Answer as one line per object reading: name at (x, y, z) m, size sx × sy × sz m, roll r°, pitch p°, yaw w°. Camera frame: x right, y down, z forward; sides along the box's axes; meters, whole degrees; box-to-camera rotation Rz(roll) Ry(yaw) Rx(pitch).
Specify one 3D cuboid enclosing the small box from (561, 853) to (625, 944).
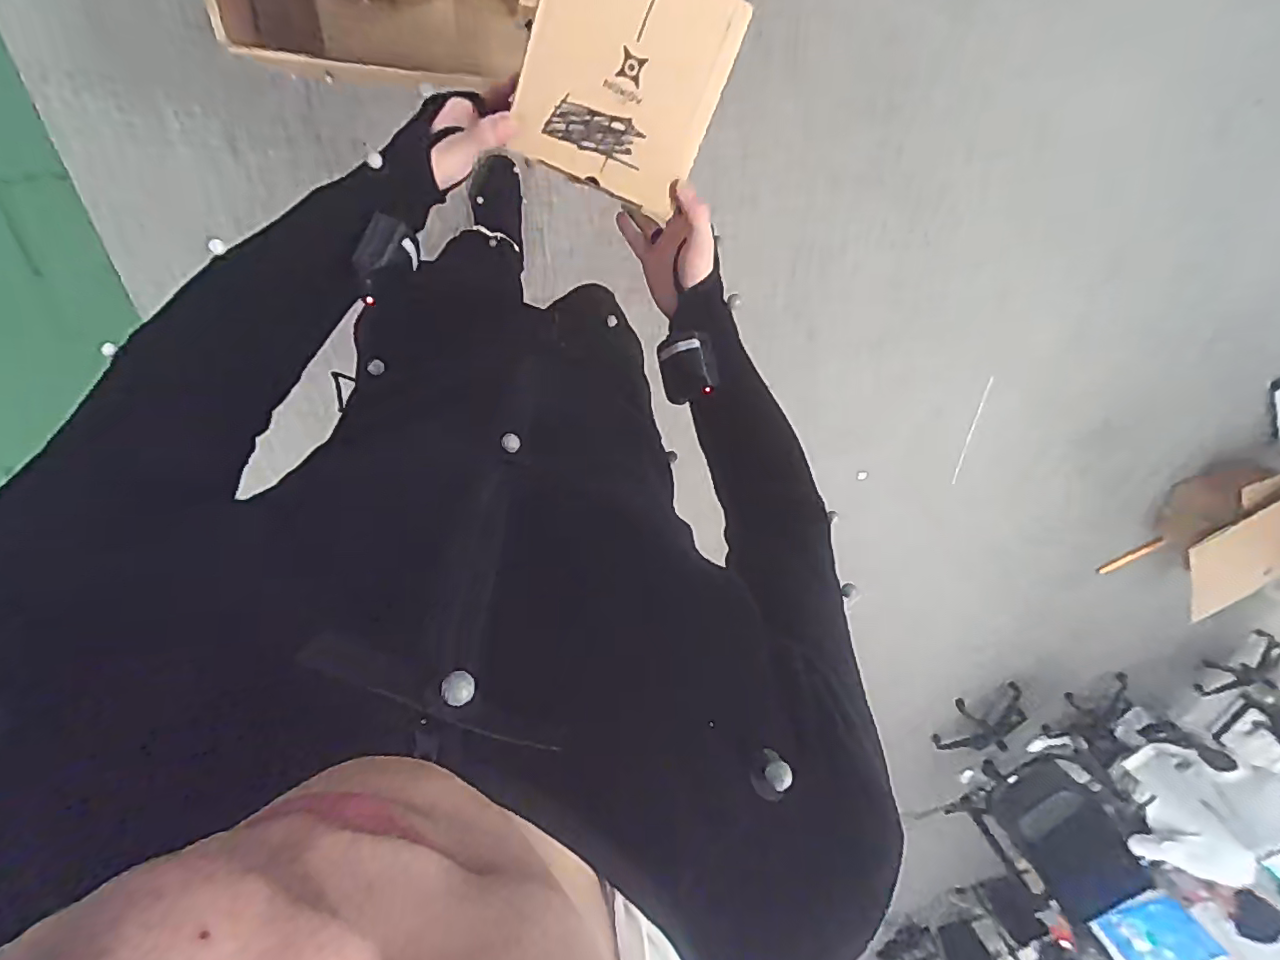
small box at (-0.150, 1.329, 1.722) m, size 0.168 × 0.176 × 0.179 m, roll -13°, pitch 126°, yaw -7°

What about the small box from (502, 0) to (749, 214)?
small box at (-0.028, -0.388, 0.522) m, size 0.168 × 0.176 × 0.179 m, roll 14°, pitch 118°, yaw -22°
